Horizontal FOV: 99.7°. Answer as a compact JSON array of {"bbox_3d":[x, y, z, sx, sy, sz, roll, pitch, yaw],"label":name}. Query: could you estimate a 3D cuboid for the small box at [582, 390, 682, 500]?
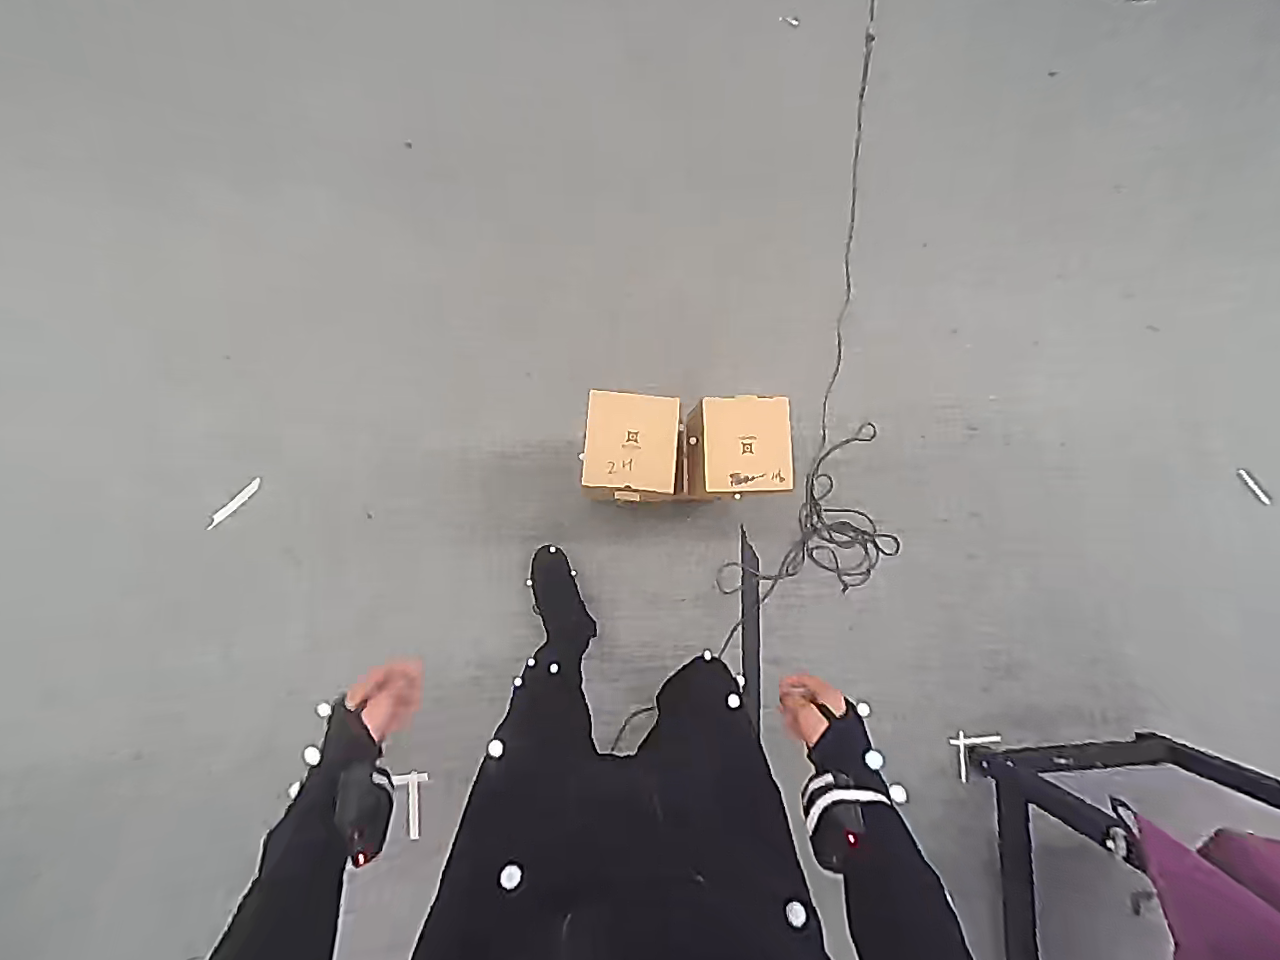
[{"bbox_3d":[-0.020,-0.059,1.031,0.168,0.176,0.179,5,86,-4],"label":"small box"}]
